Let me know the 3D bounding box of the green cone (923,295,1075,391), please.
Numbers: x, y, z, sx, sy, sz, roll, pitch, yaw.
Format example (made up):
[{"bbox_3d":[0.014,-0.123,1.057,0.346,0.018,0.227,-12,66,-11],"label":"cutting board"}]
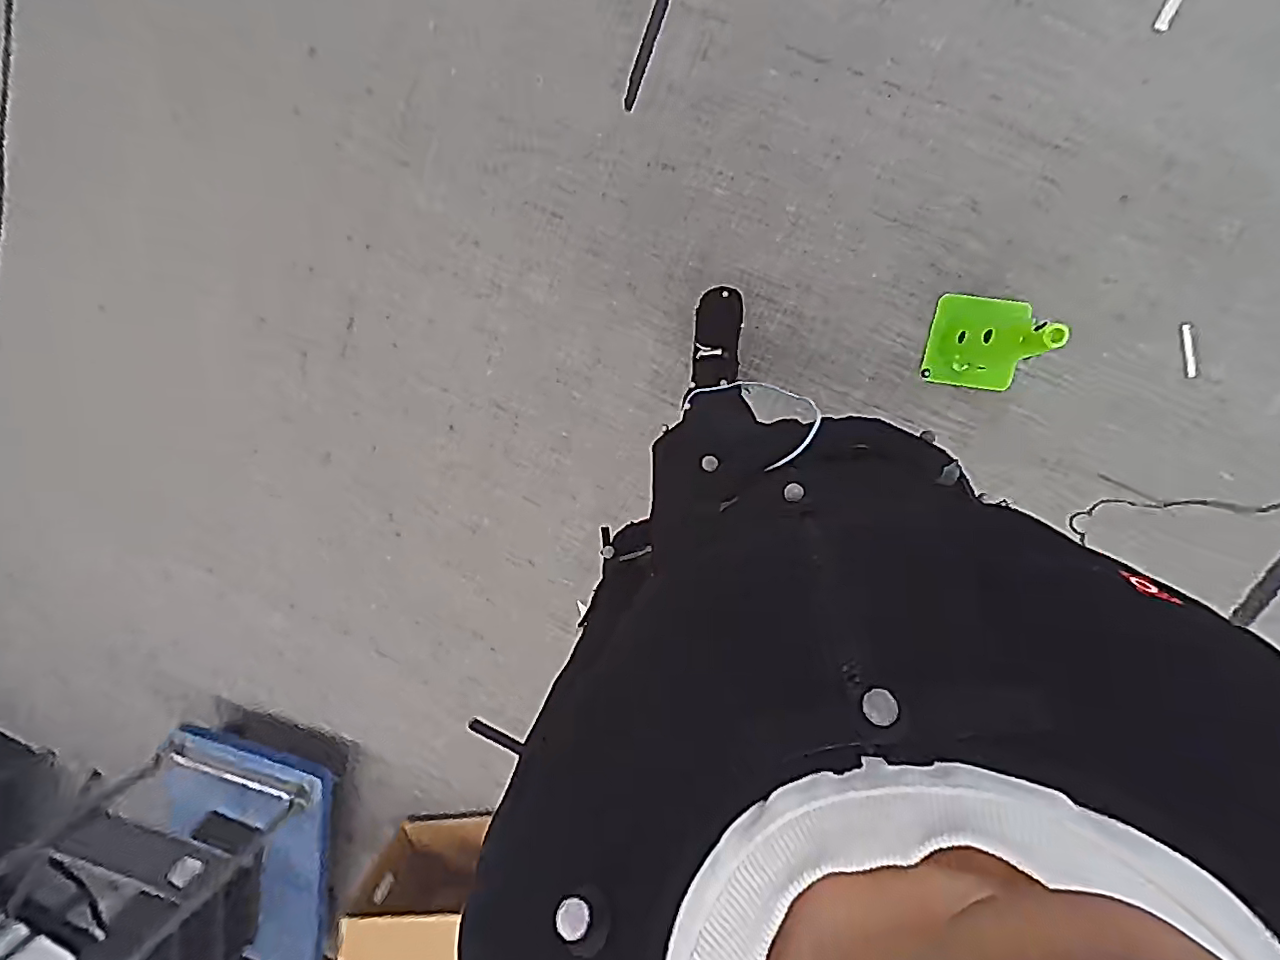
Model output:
[{"bbox_3d":[0.744,-0.284,1.079,0.200,0.368,0.202,9,102,9],"label":"green cone"}]
